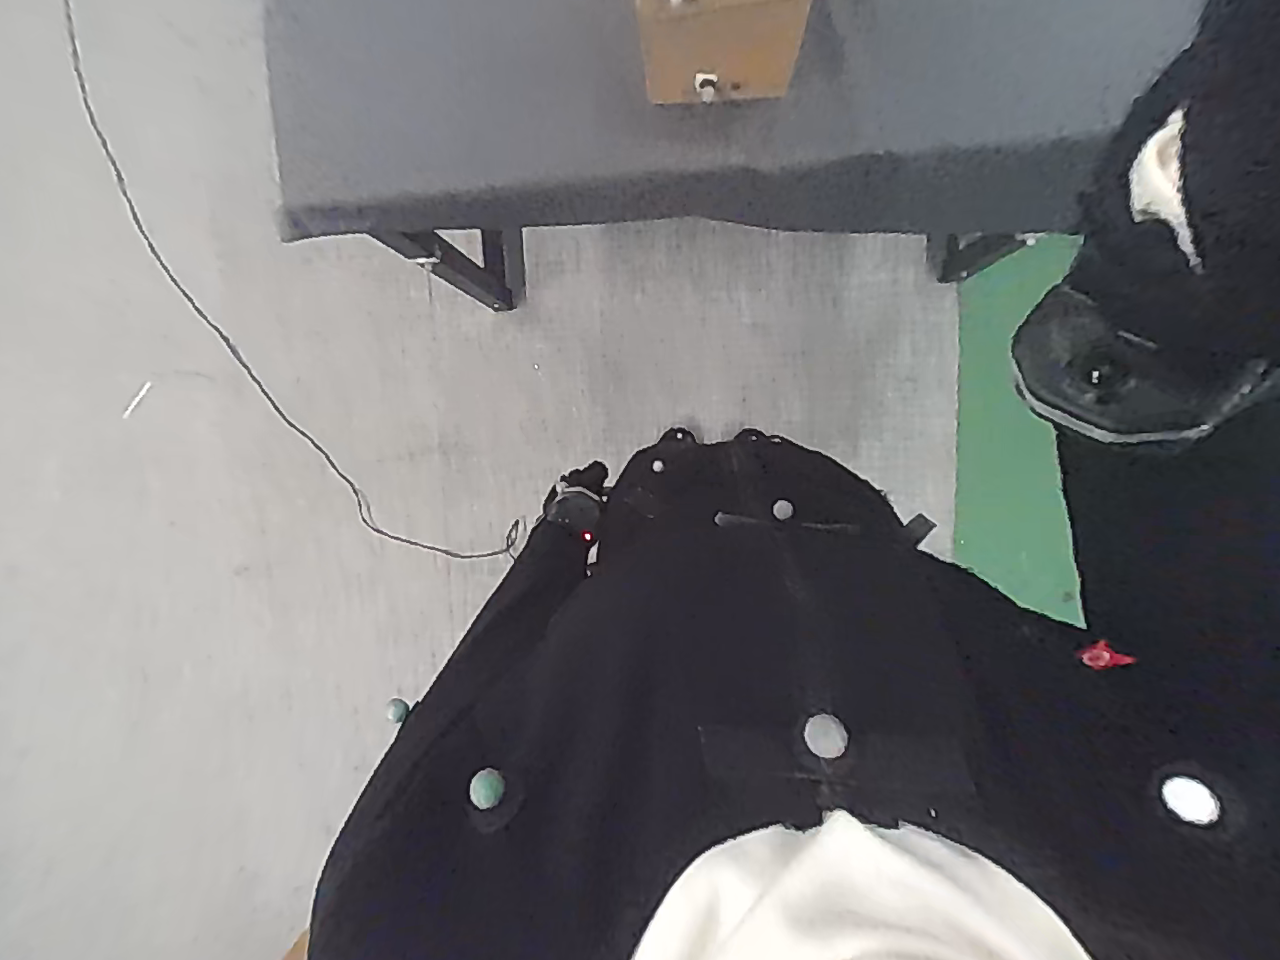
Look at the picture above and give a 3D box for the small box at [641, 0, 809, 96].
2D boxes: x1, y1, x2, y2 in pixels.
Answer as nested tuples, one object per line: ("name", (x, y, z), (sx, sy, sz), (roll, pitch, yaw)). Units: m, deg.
("small box", (0.084, -0.548, 0.566), (0.168, 0.176, 0.179), (-1, 96, 6))
